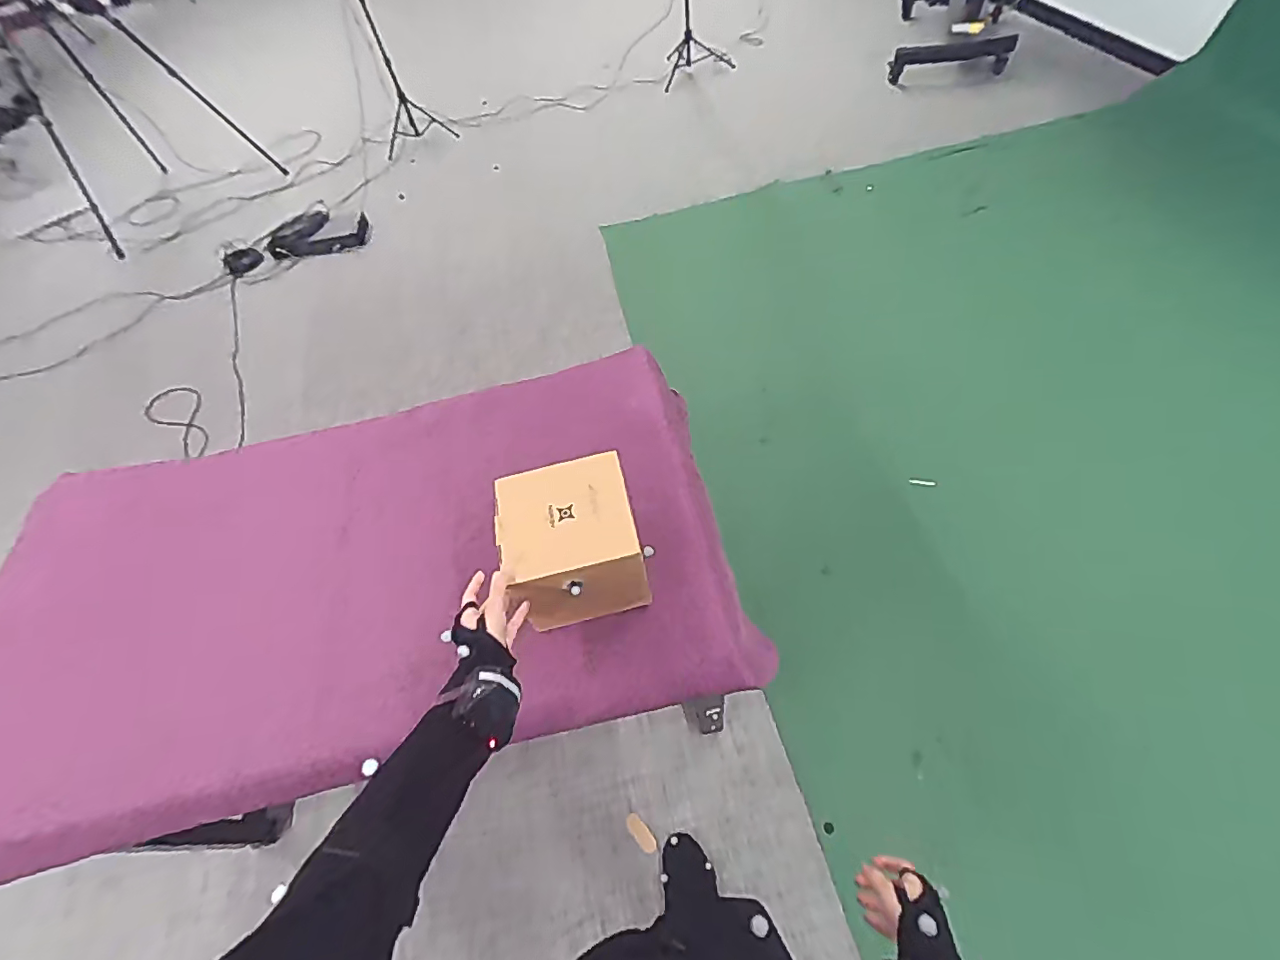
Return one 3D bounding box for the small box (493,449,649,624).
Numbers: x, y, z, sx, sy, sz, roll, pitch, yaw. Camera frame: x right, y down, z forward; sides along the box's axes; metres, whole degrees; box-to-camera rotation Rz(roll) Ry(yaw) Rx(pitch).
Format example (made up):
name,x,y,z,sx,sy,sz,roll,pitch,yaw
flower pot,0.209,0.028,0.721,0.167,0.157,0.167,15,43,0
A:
name,x,y,z,sx,sy,sz,roll,pitch,yaw
small box,-0.093,0.086,0.758,0.179,0.176,0.168,-12,55,-1
